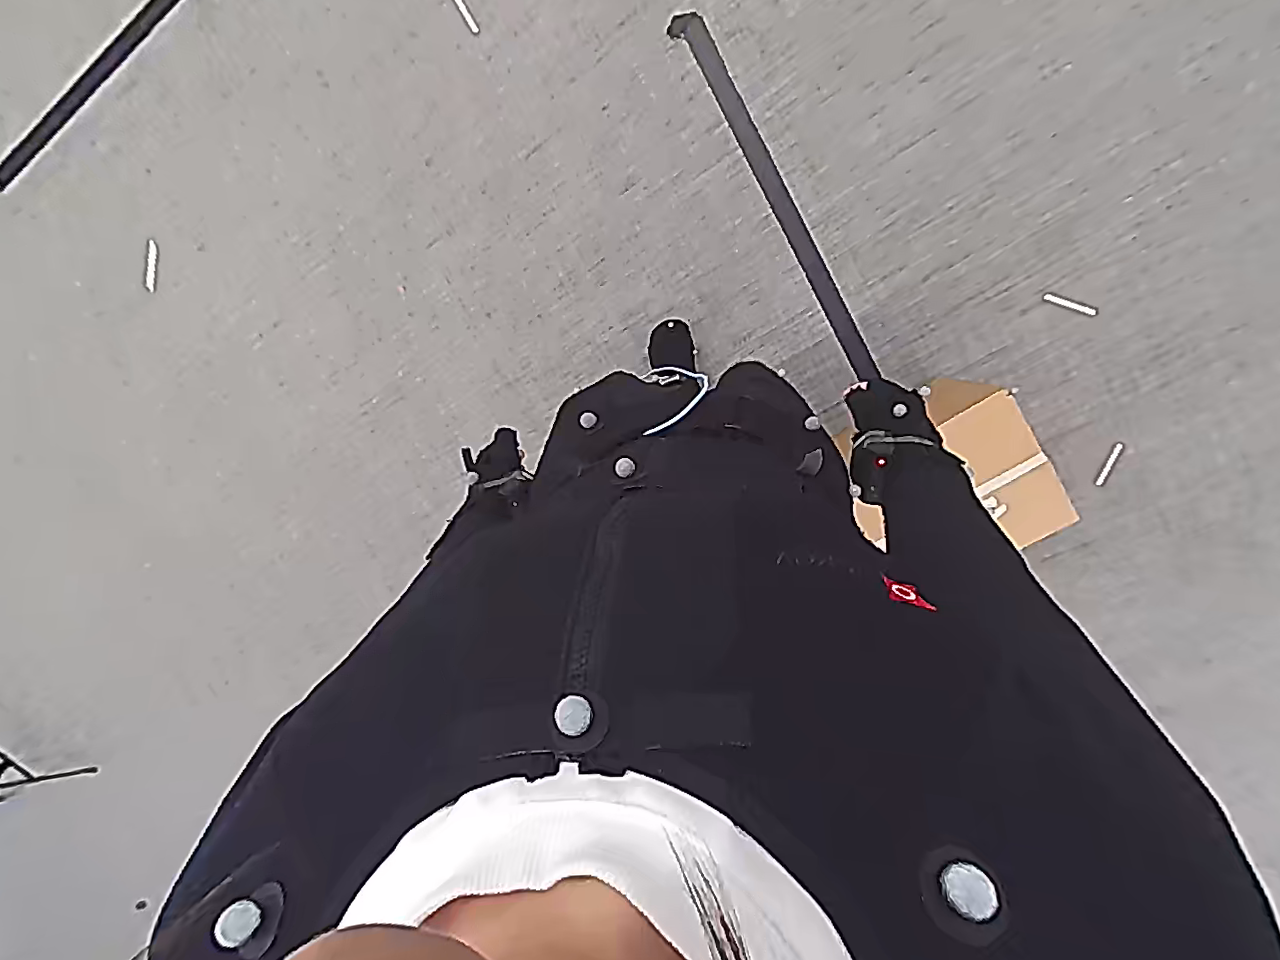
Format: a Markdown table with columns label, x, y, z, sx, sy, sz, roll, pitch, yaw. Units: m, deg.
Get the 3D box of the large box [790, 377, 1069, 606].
| label | x | y | z | sx | sy | sz | roll | pitch | yaw |
| --- | --- | --- | --- | --- | --- | --- | --- | --- | --- |
| large box | 0.613 | 0.009 | 1.226 | 0.408 | 0.320 | 0.320 | -32 | 99 | 13 |
